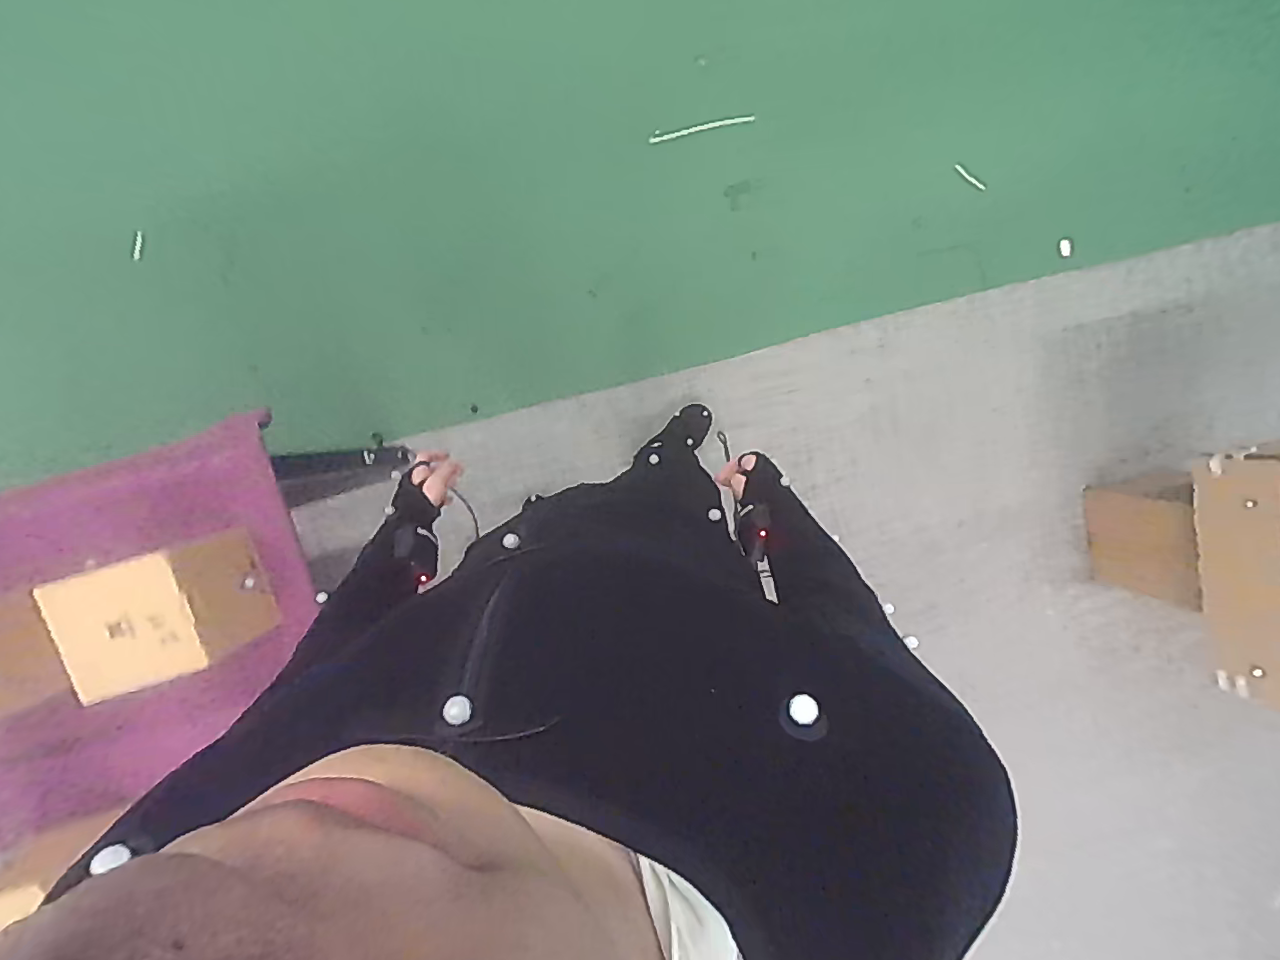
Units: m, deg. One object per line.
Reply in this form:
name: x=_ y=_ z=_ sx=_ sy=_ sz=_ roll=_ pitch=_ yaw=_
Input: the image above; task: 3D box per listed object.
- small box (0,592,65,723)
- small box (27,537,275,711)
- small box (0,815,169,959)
small box: x=-0.981 y=0.276 z=0.770 sx=0.179 sy=0.176 sz=0.168 roll=-15 pitch=96 yaw=-2
small box: x=-0.682 y=0.194 z=0.778 sx=0.179 sy=0.176 sz=0.168 roll=-17 pitch=97 yaw=-3
small box: x=-0.876 y=0.649 z=0.806 sx=0.179 sy=0.176 sz=0.168 roll=-17 pitch=96 yaw=-3
